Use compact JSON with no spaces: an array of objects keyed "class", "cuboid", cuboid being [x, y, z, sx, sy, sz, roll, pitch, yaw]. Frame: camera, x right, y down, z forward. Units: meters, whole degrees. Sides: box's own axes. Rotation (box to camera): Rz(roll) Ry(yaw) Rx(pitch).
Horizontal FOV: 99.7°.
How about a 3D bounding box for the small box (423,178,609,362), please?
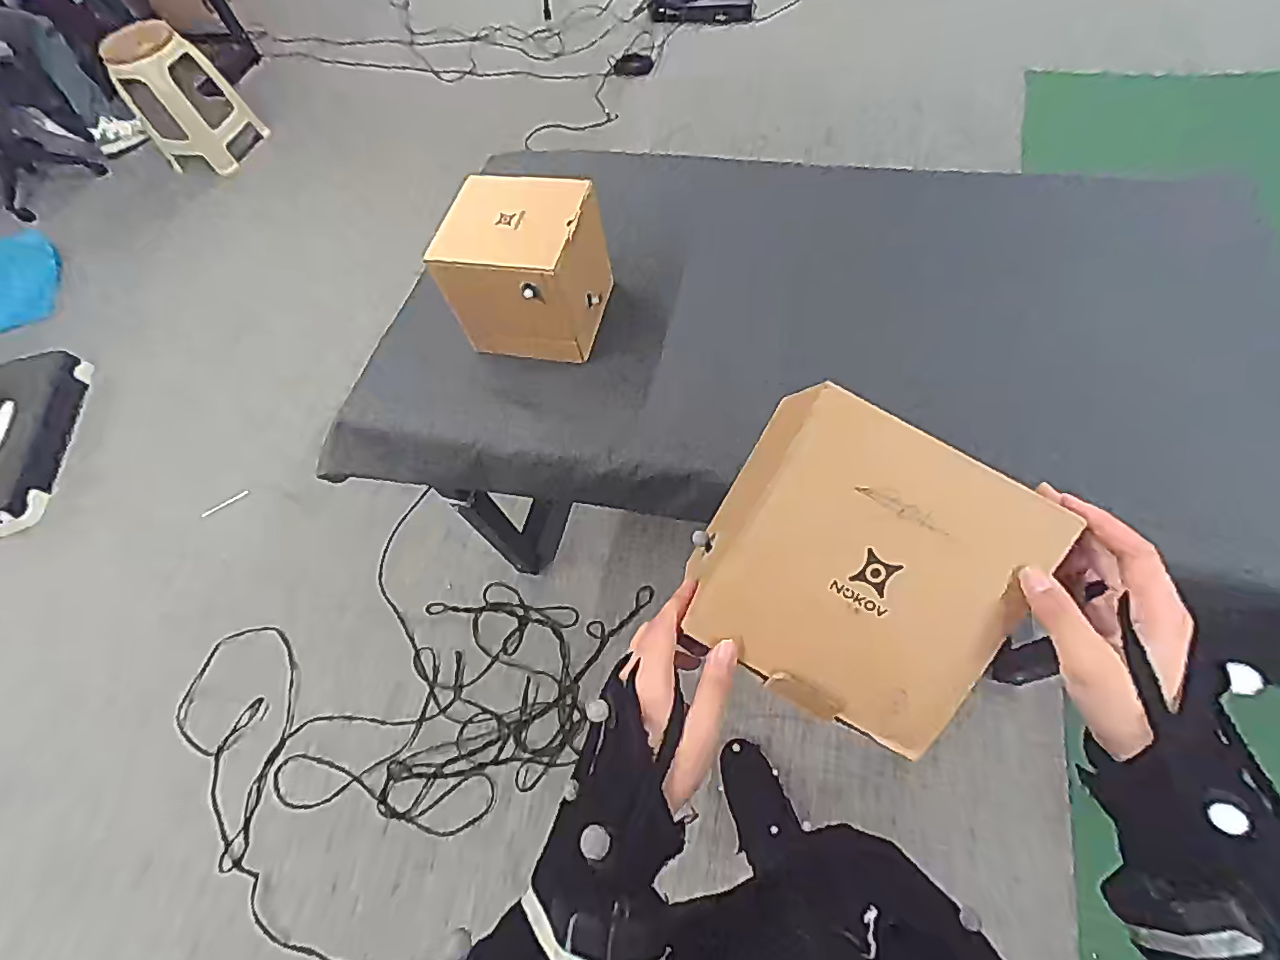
[{"class":"small box","cuboid":[-0.154,-0.281,0.741,0.179,0.176,0.168,9,63,11]}]
